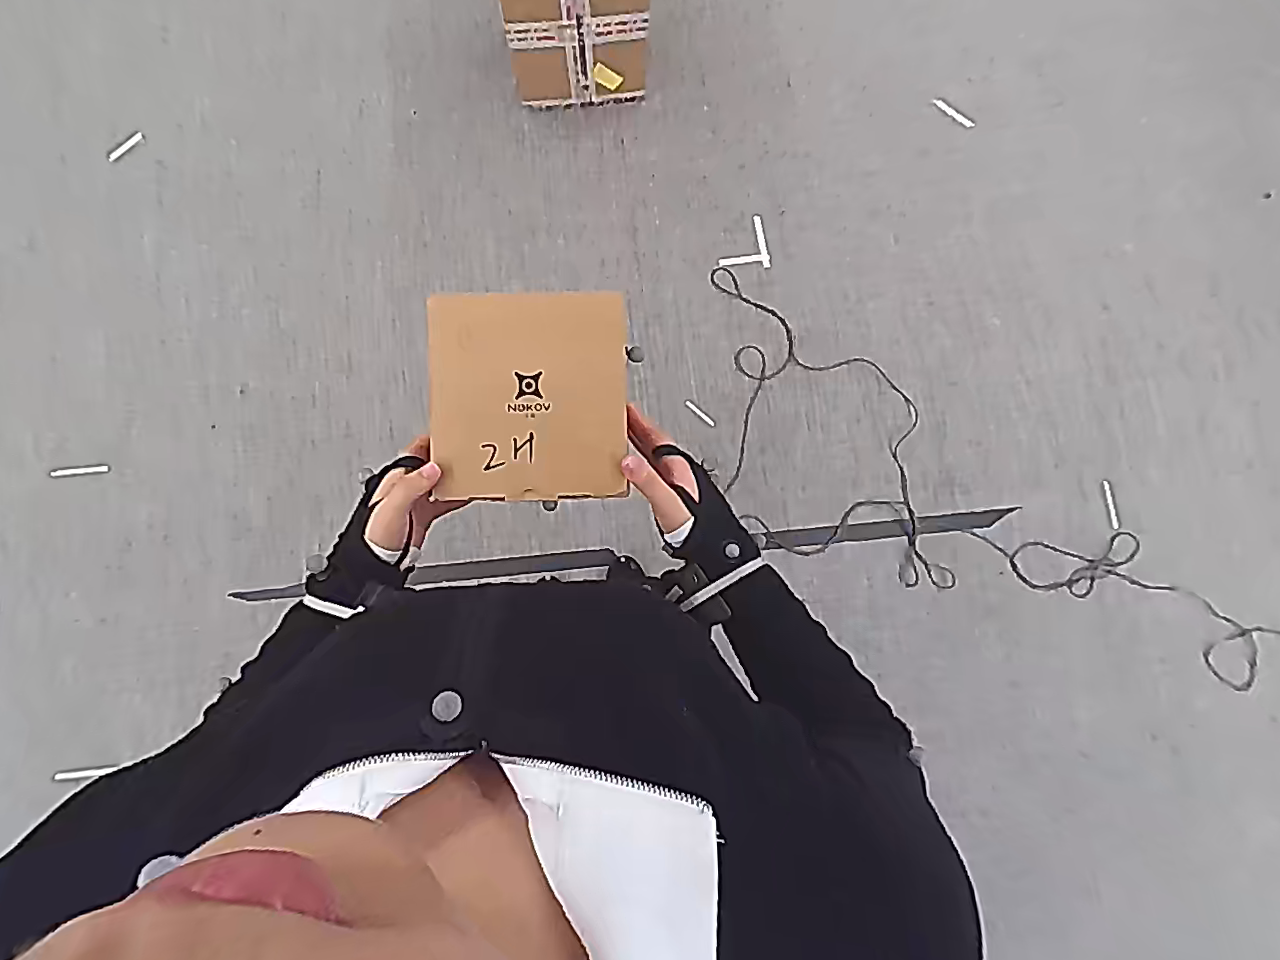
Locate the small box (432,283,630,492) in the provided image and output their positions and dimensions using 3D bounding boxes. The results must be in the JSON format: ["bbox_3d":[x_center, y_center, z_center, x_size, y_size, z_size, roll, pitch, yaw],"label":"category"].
[{"bbox_3d":[-0.094,-0.077,0.532,0.168,0.176,0.179,-1,90,-1],"label":"small box"}]
